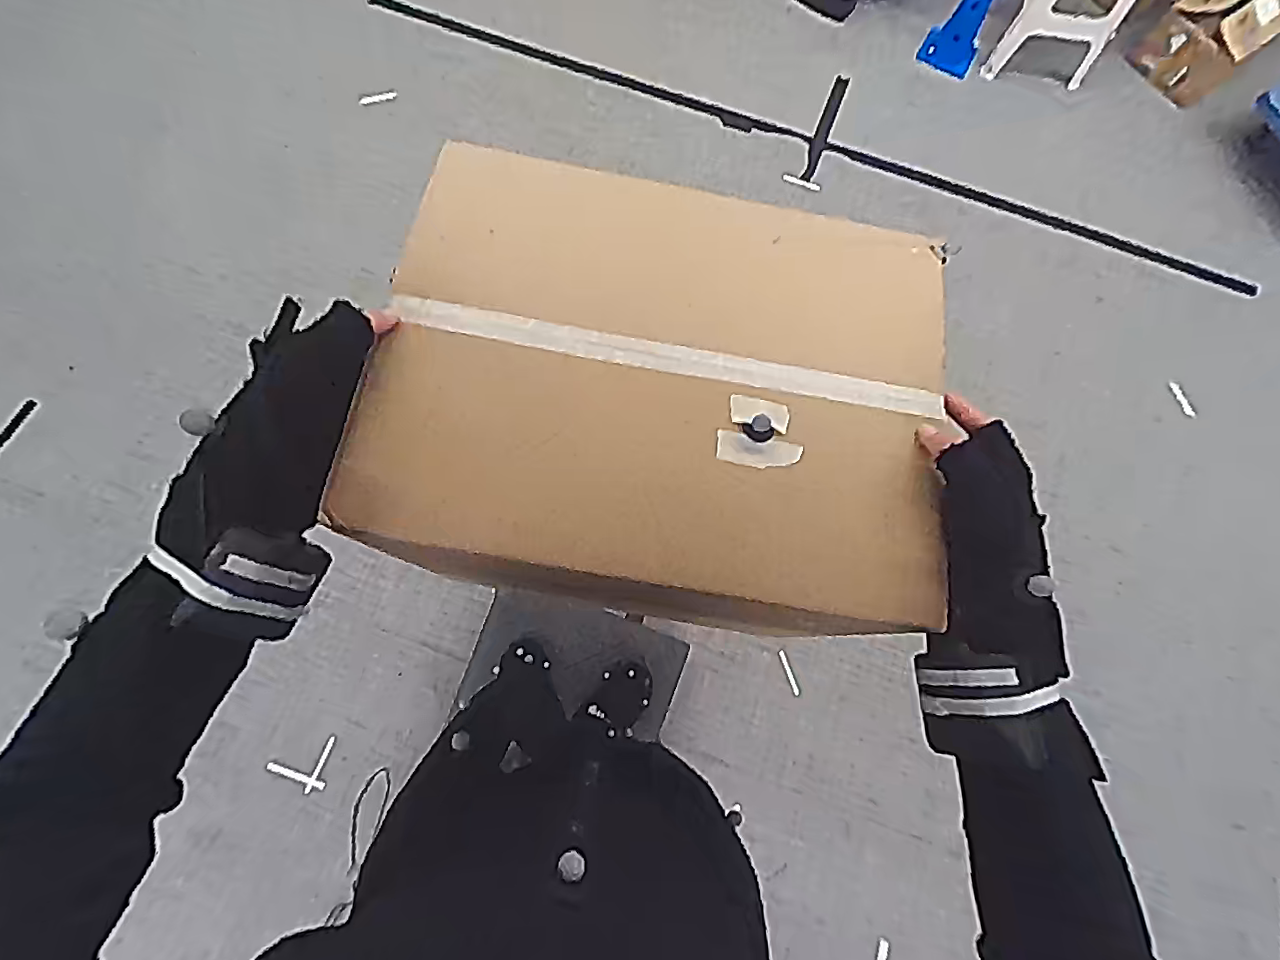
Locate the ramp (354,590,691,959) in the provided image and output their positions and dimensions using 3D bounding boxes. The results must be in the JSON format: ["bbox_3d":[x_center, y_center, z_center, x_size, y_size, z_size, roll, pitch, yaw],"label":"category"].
[{"bbox_3d":[-0.271,0.763,1.292,0.509,0.206,0.991,19,75,1],"label":"ramp"}]

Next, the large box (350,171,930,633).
[{"bbox_3d":[0.010,-0.035,0.547,0.408,0.320,0.320,11,73,-3],"label":"large box"}]
